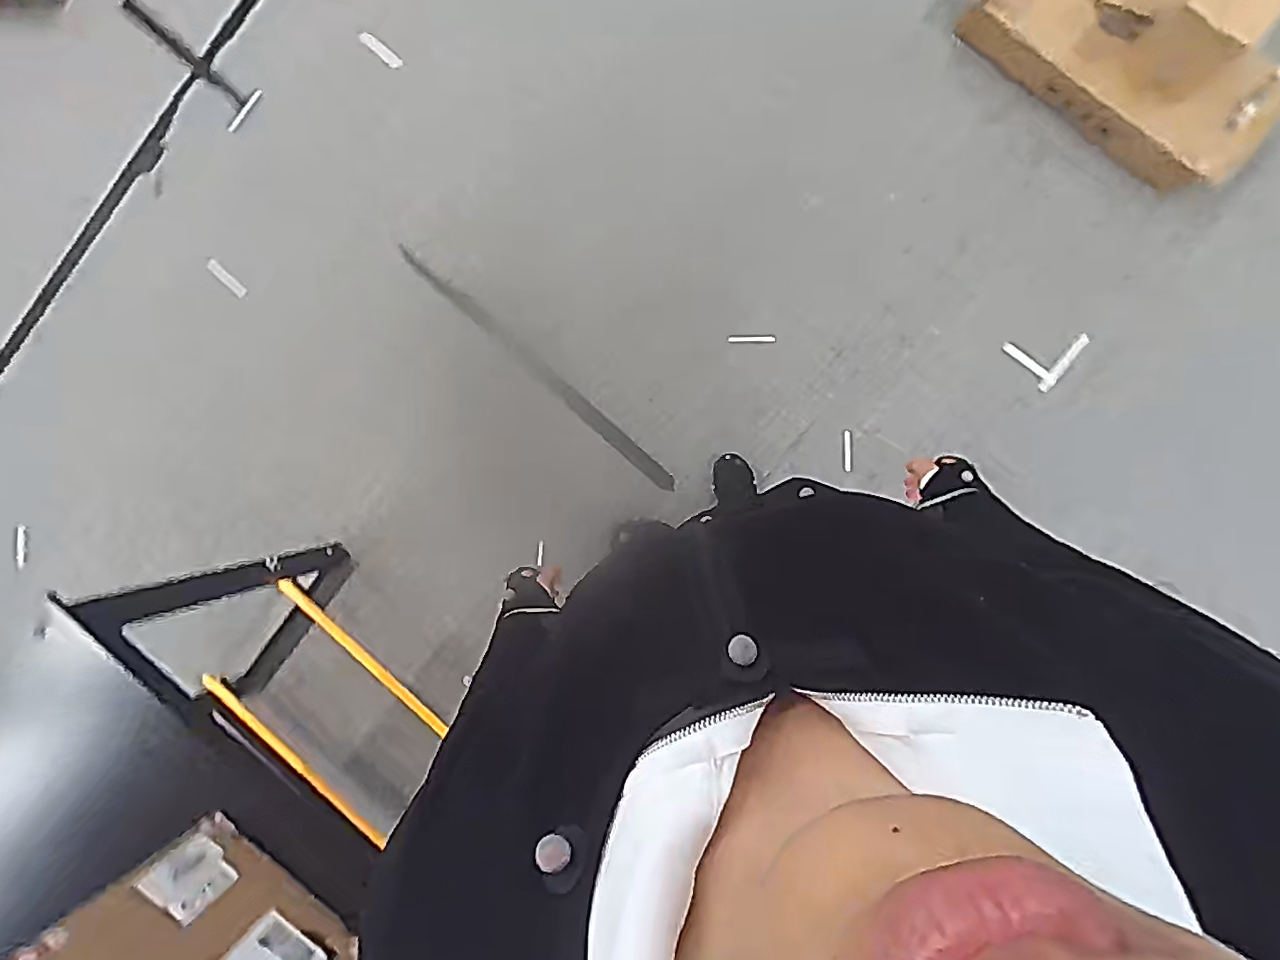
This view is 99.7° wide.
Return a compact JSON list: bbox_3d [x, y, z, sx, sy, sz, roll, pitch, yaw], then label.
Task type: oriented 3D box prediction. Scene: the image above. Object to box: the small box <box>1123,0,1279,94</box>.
[{"bbox_3d":[1.228,-1.006,1.175,0.168,0.176,0.179,40,94,3],"label":"small box"}]
